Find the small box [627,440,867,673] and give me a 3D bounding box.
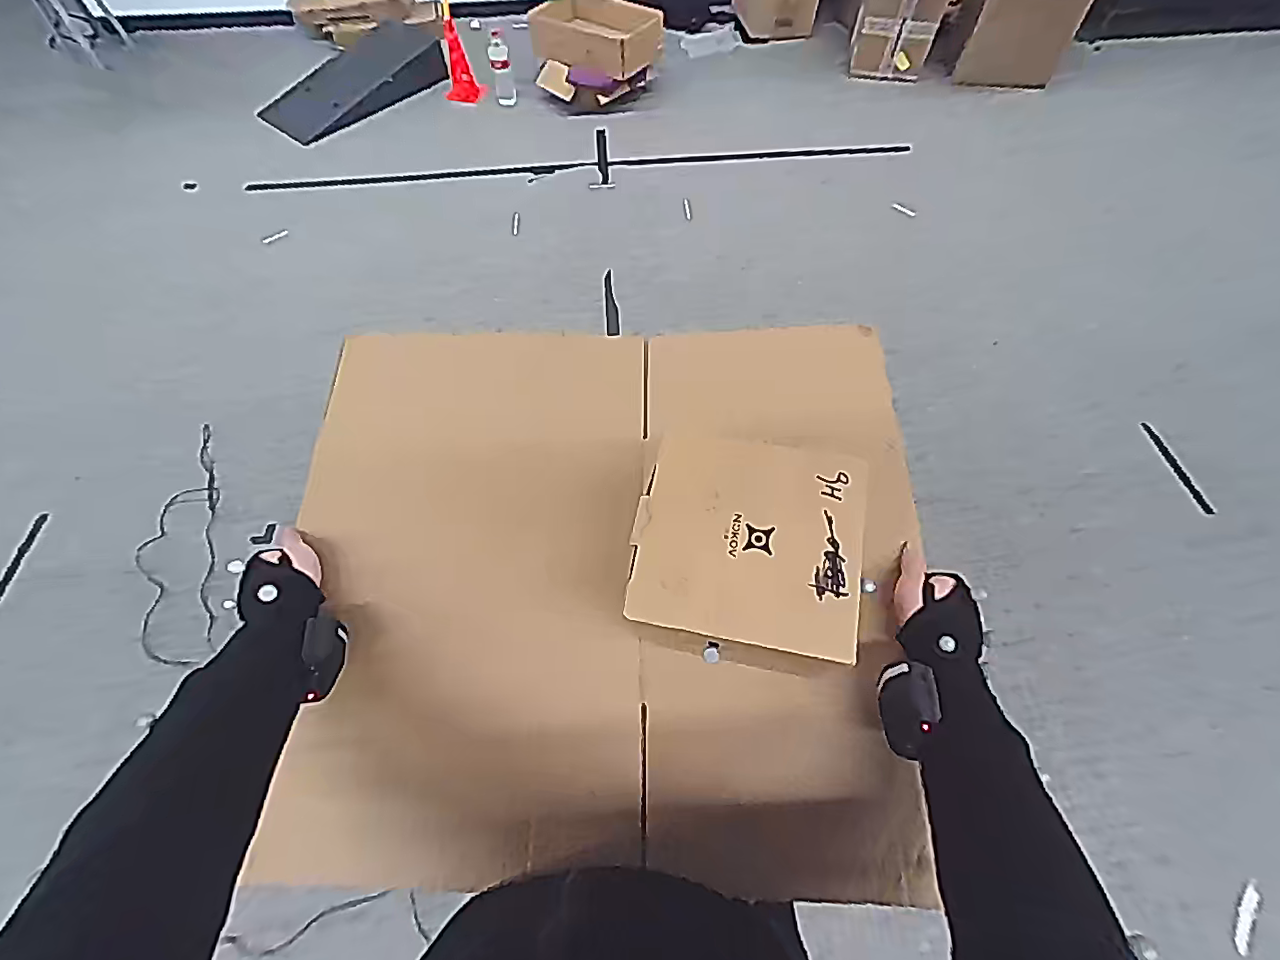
[{"bbox_3d":[0.102,0.080,0.514,0.179,0.176,0.168,8,68,13],"label":"small box"}]
